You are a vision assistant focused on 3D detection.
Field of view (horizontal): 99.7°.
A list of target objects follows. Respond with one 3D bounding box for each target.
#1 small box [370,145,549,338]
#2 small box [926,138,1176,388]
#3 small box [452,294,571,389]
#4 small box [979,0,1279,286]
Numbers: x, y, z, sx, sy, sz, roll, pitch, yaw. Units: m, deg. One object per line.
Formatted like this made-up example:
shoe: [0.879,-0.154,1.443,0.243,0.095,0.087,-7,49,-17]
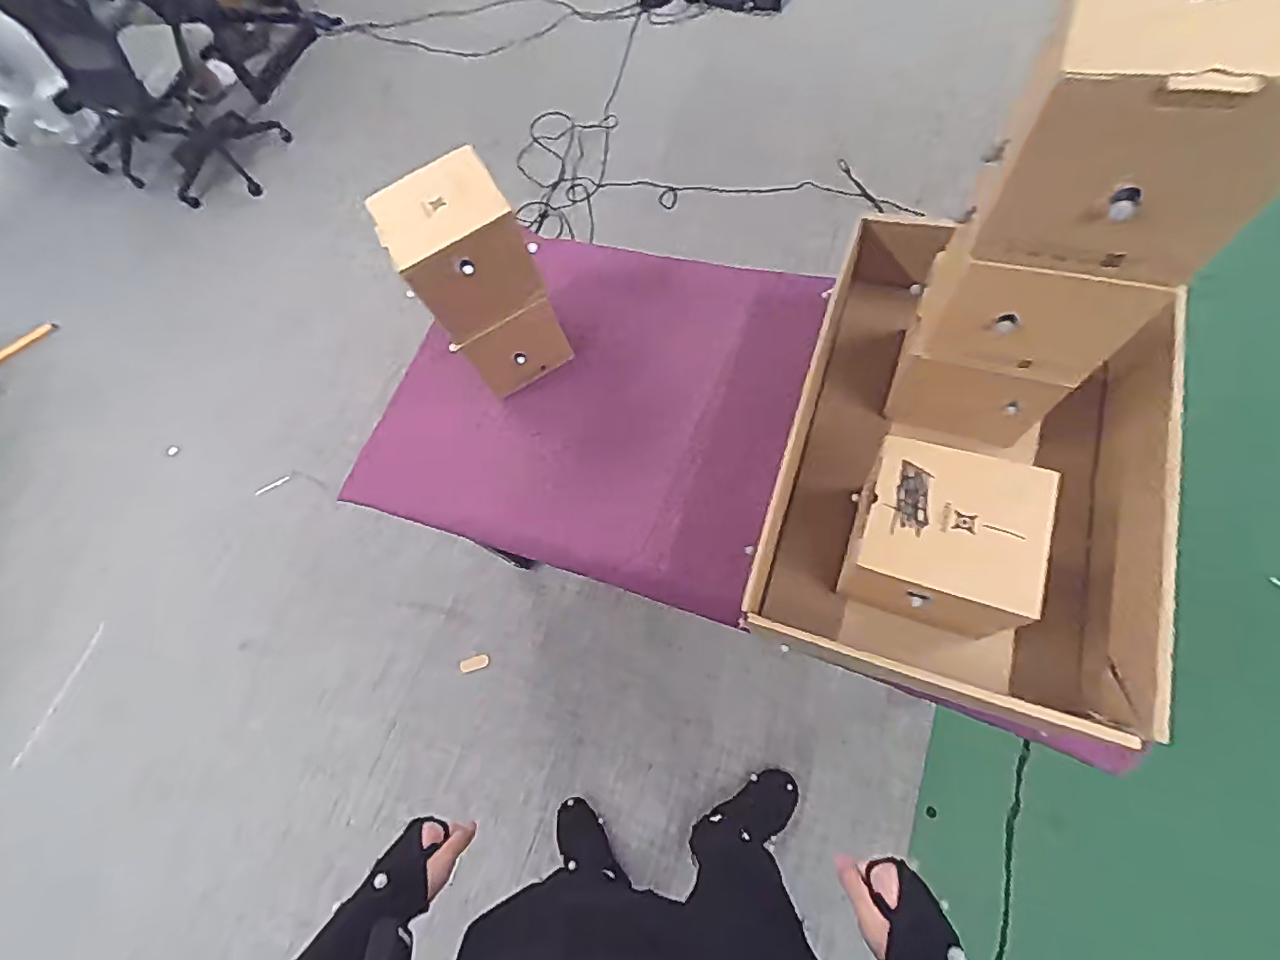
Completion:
small box: [-0.264,-0.350,0.819,0.179,0.176,0.168,-29,67,-2]
small box: [0.427,-0.223,0.579,0.168,0.176,0.179,17,73,18]
small box: [-0.243,-0.287,0.968,0.168,0.176,0.179,-29,66,-3]
small box: [0.398,-0.284,0.429,0.168,0.176,0.179,18,74,17]
